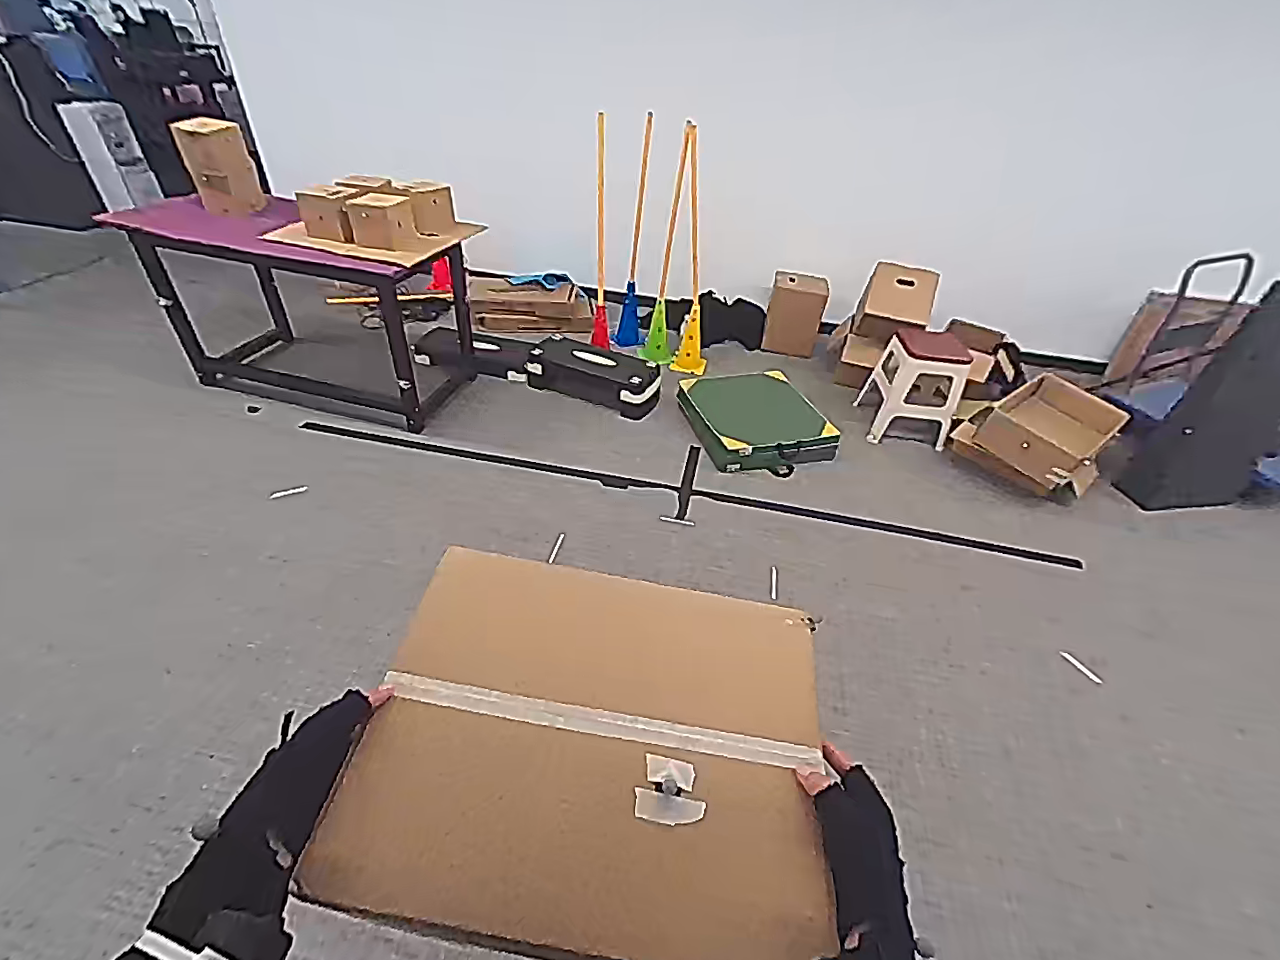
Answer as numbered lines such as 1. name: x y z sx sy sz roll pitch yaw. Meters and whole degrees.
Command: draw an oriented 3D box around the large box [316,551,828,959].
1. large box: -0.051 0.323 0.615 0.408 0.320 0.320 11 48 1
